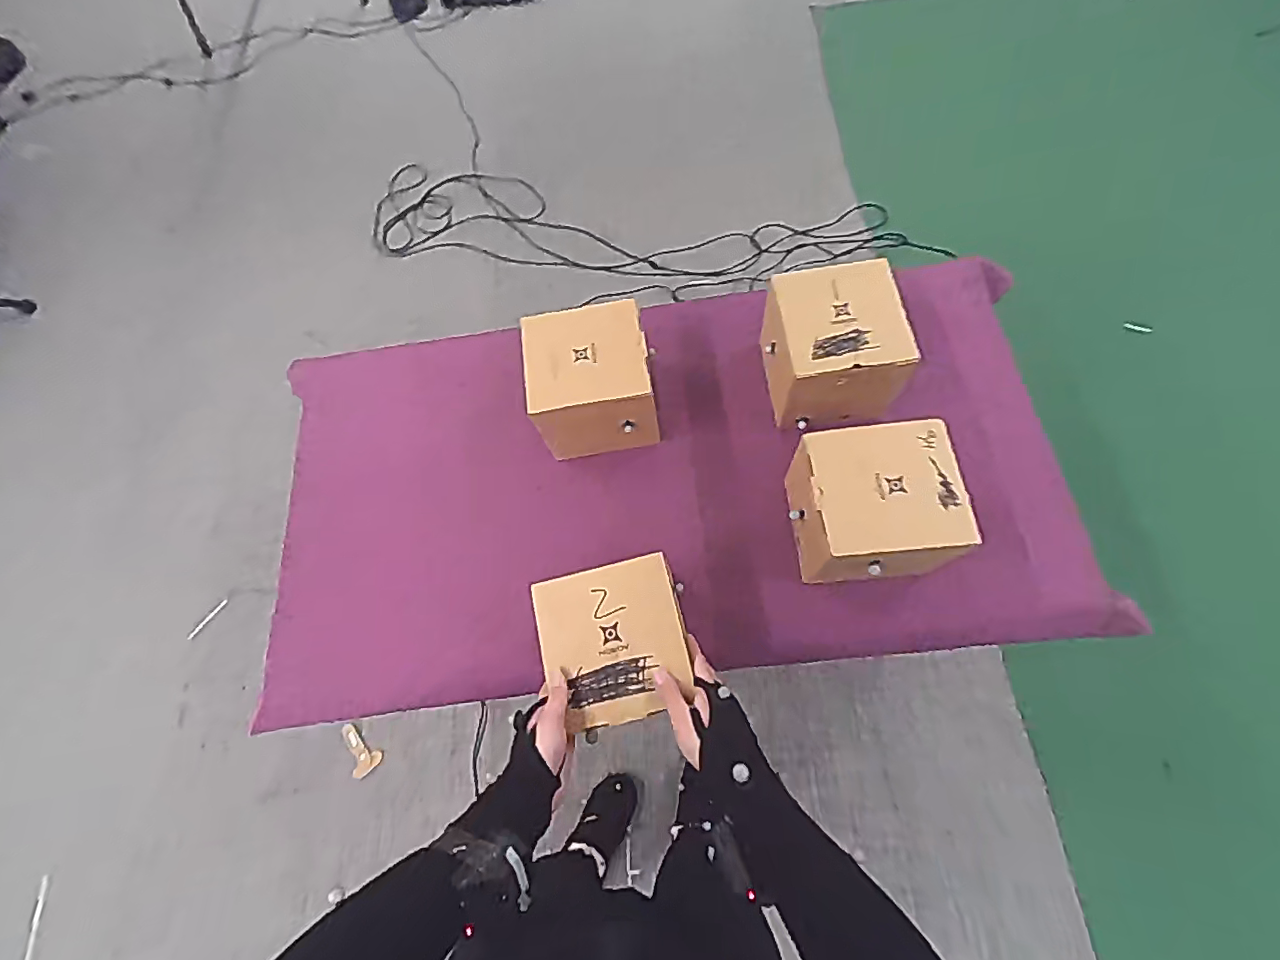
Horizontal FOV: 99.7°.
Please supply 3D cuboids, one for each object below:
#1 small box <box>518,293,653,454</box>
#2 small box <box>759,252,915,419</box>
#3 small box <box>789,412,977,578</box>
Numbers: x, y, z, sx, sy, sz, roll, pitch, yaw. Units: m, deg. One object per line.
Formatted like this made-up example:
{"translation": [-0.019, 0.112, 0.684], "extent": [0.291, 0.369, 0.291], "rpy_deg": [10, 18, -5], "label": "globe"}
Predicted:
{"translation": [-0.076, -0.155, 0.832], "extent": [0.179, 0.176, 0.168], "rpy_deg": [-9, 69, 3], "label": "small box"}
{"translation": [0.279, -0.203, 0.810], "extent": [0.168, 0.176, 0.179], "rpy_deg": [-7, 67, 3], "label": "small box"}
{"translation": [0.301, 0.029, 0.719], "extent": [0.179, 0.176, 0.168], "rpy_deg": [-6, 68, 5], "label": "small box"}
